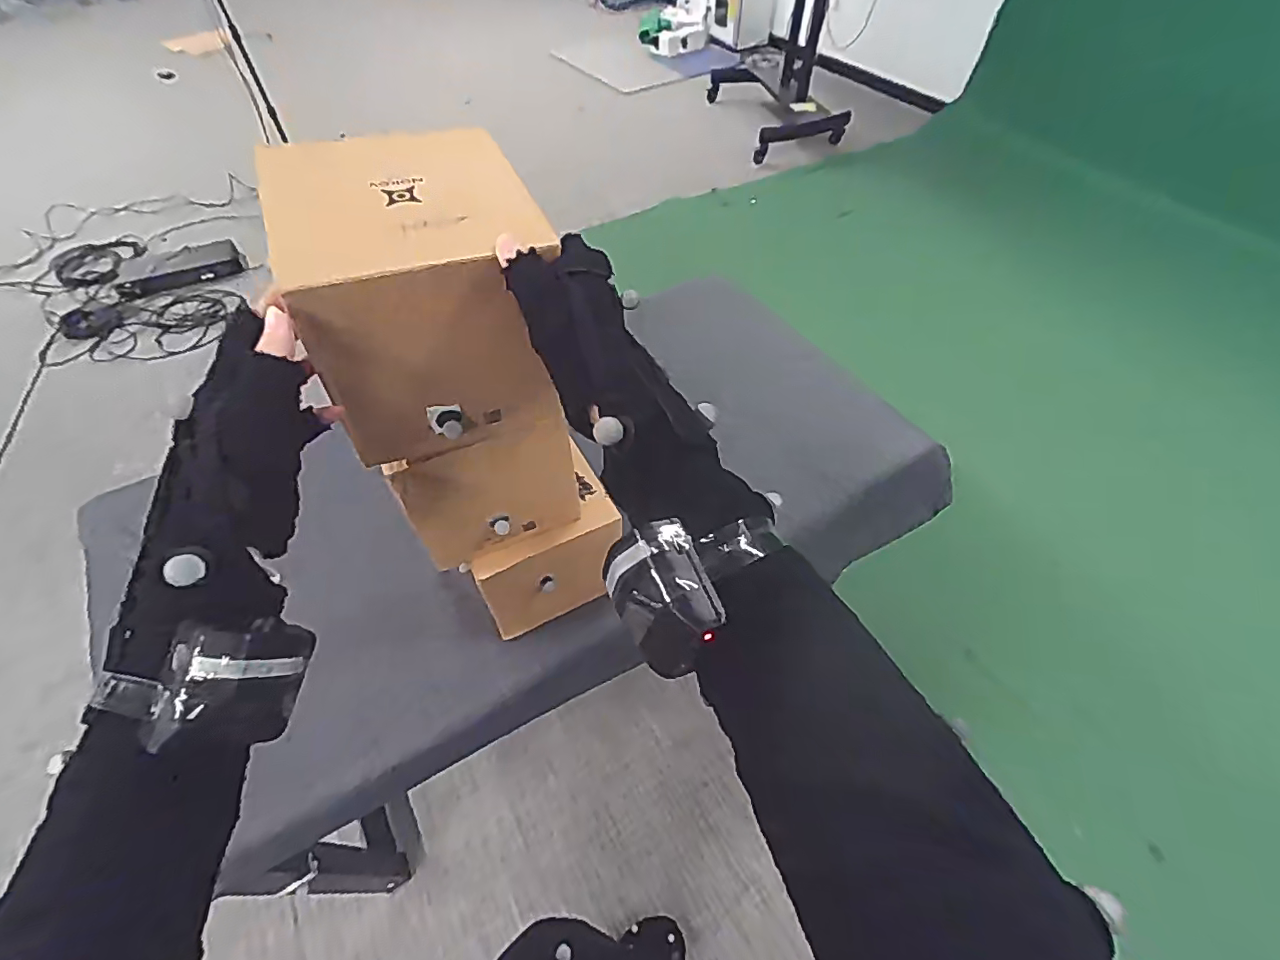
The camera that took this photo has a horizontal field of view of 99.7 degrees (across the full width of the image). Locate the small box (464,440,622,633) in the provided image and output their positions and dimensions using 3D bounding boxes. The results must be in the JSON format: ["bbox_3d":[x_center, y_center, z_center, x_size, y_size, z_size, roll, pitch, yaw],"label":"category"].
[{"bbox_3d":[-0.136,0.070,0.704,0.179,0.176,0.168,-24,55,-16],"label":"small box"}]

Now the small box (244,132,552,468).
[{"bbox_3d":[-0.175,-0.140,0.423,0.168,0.176,0.179,-19,58,-18],"label":"small box"}]

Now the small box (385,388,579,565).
[{"bbox_3d":[-0.180,-0.042,0.584,0.168,0.176,0.179,-24,53,-16],"label":"small box"}]
